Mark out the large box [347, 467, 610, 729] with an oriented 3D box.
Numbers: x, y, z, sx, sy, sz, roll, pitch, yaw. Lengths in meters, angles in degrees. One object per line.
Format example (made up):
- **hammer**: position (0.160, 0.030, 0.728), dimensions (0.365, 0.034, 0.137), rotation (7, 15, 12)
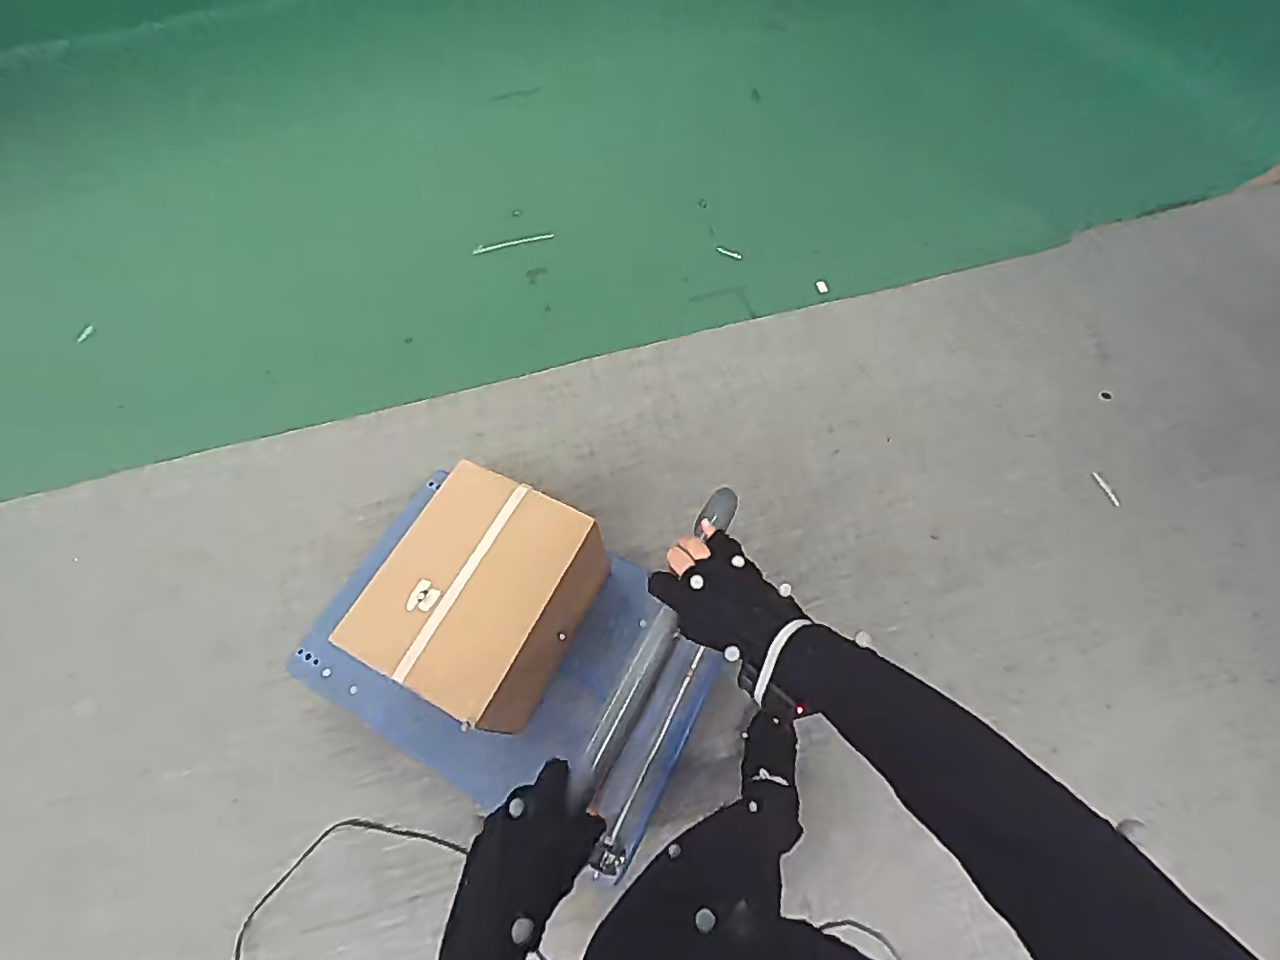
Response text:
- **large box**: position (-0.293, 0.252, 1.129), dimensions (0.320, 0.320, 0.408), rotation (23, 67, 15)
